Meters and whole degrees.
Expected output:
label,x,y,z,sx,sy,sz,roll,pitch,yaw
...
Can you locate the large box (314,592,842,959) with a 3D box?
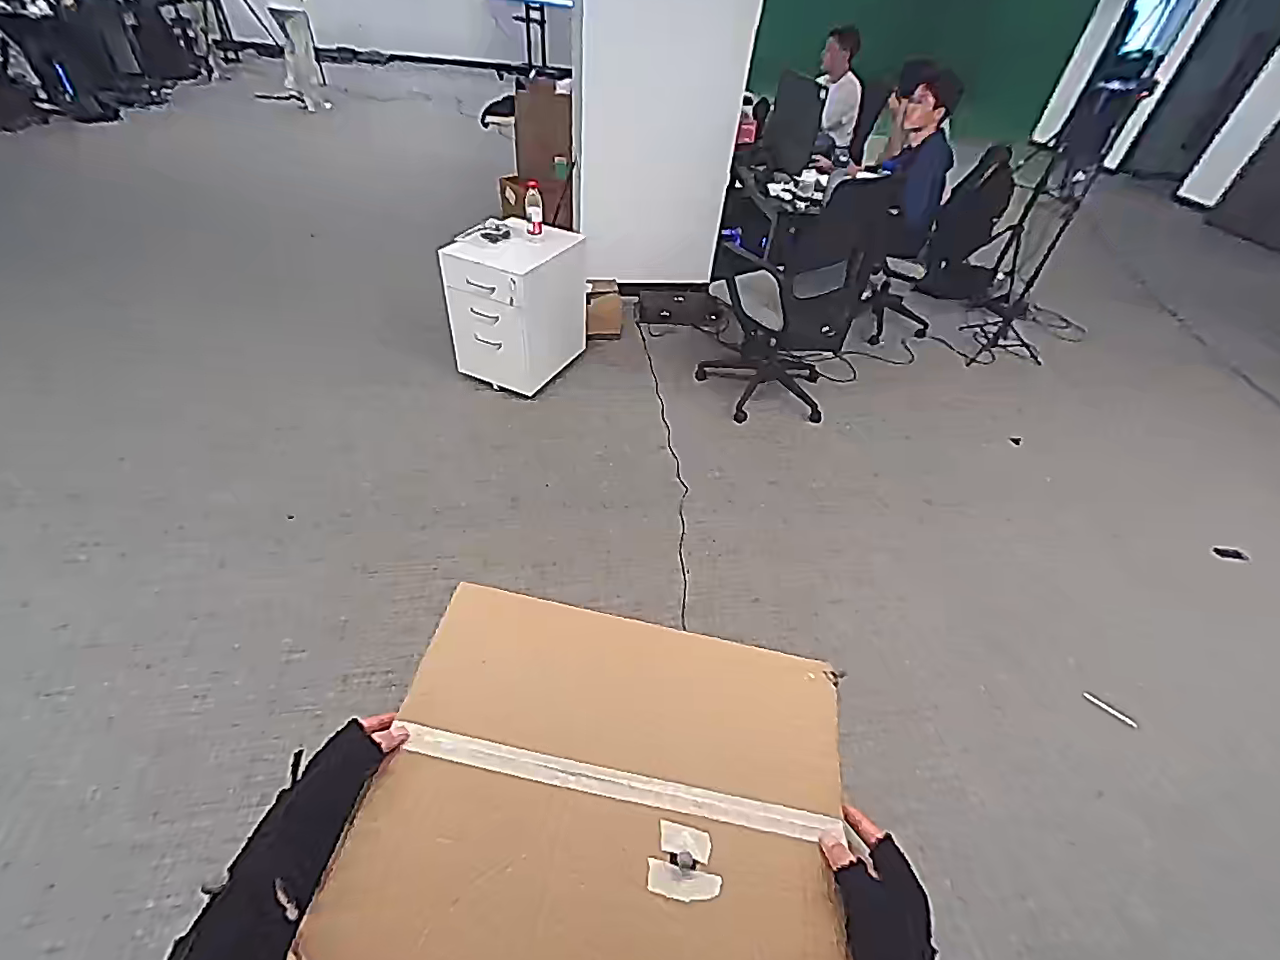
label,x,y,z,sx,sy,sz,roll,pitch,yaw
large box,-0.041,0.369,0.595,0.408,0.320,0.320,13,48,1
